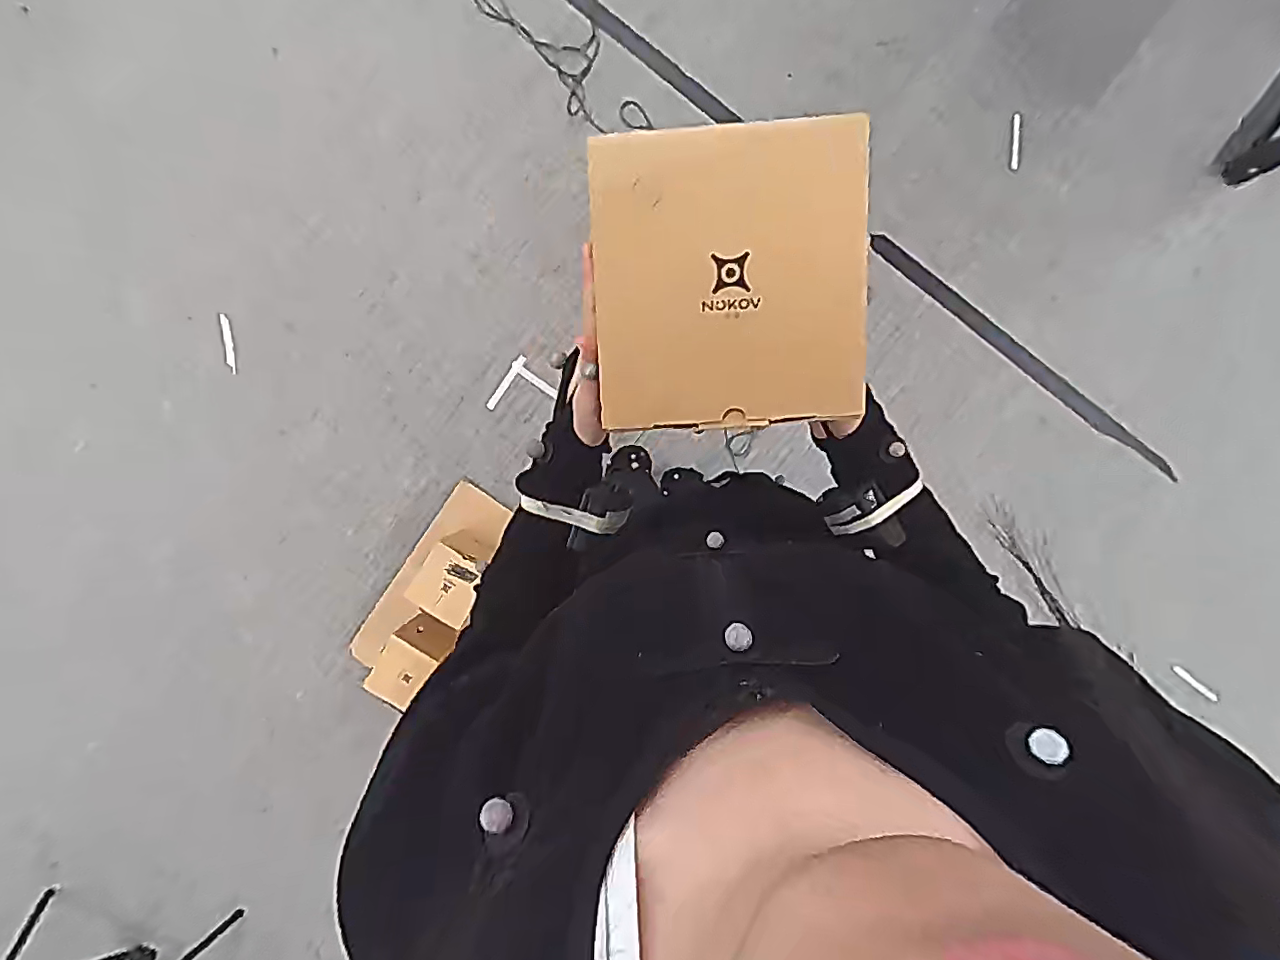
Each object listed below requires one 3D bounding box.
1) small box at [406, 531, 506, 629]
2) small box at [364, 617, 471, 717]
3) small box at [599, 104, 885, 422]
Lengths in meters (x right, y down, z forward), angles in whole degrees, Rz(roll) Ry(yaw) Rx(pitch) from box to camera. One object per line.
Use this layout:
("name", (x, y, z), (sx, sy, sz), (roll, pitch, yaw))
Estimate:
("small box", (-0.476, 0.255, 1.432), (0.168, 0.176, 0.179), (32, 94, -1))
("small box", (-0.589, 0.490, 1.452), (0.179, 0.176, 0.168), (31, 95, -1))
("small box", (0.061, -0.136, 0.397), (0.168, 0.176, 0.179), (-3, 100, 2))
